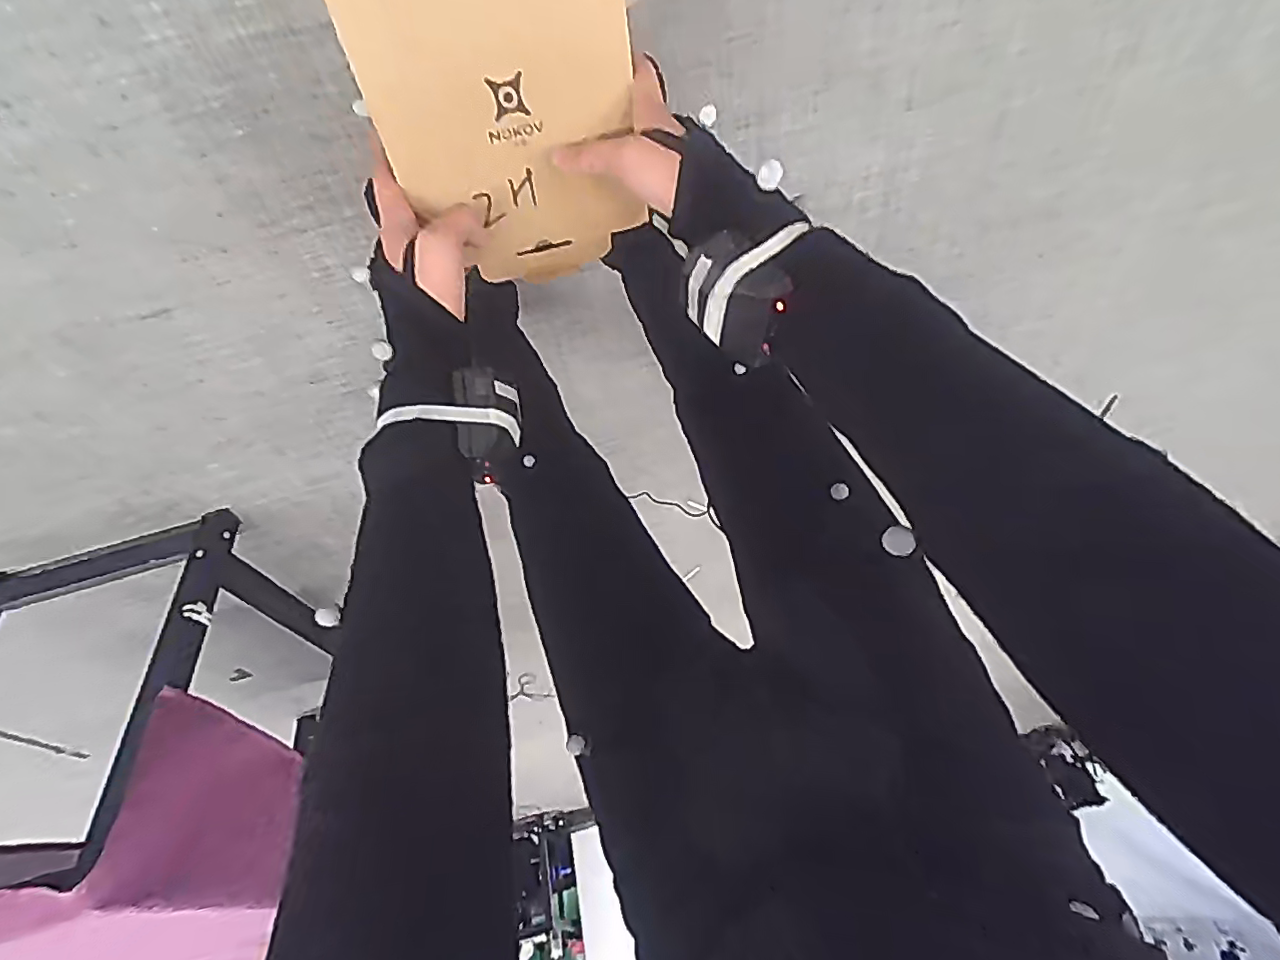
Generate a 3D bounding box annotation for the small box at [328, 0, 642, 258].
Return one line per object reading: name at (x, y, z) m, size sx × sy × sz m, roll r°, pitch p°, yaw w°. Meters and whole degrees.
small box at (-0.105, -0.294, 0.390) m, size 0.168 × 0.176 × 0.179 m, roll -15°, pitch 138°, yaw -6°
